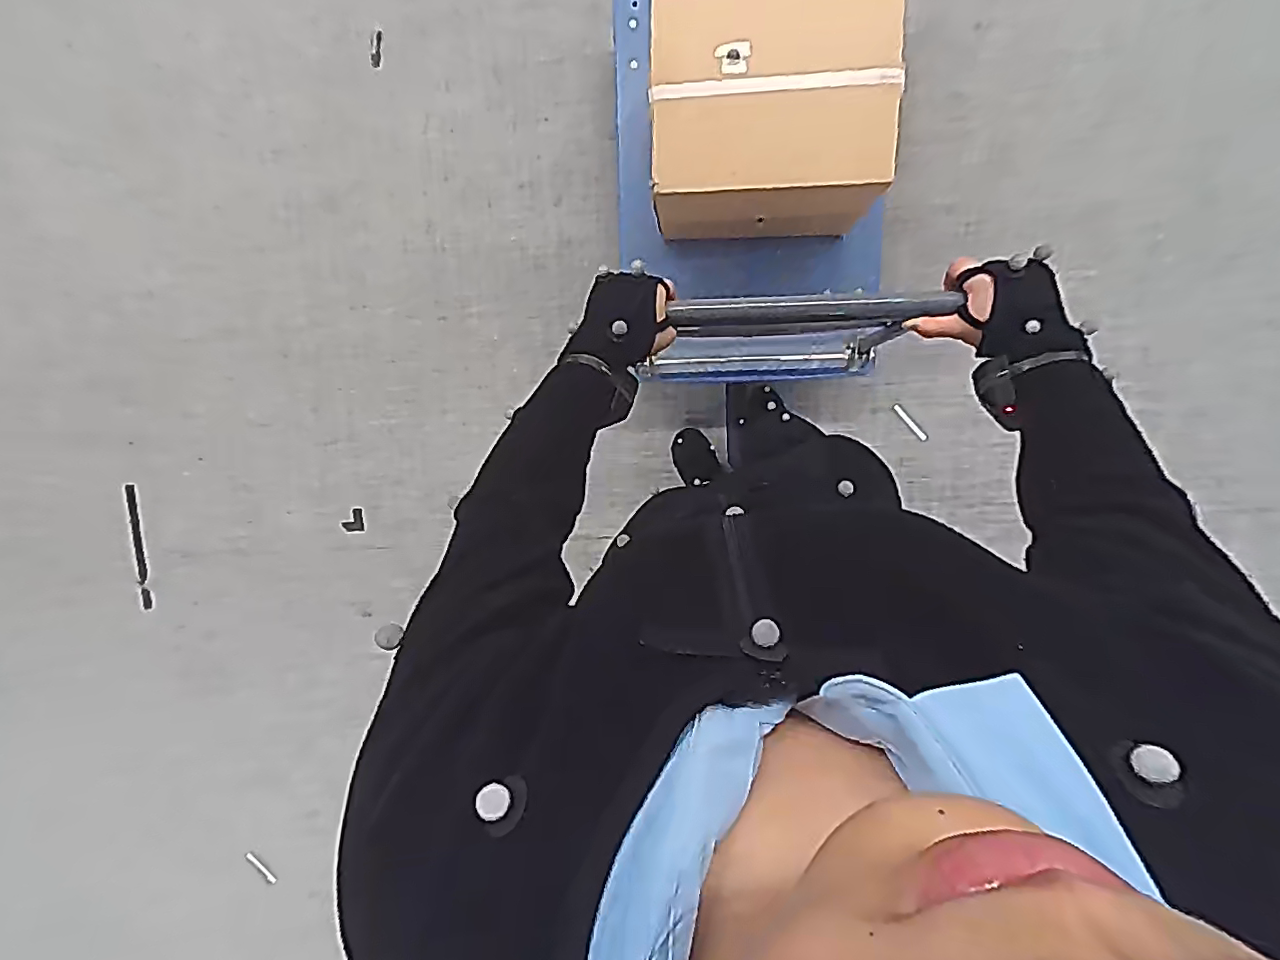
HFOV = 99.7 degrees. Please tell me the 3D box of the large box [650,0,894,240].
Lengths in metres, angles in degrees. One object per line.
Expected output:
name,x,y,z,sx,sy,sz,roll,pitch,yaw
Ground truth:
large box,0.237,-0.681,1.062,0.408,0.320,0.320,0,98,7
